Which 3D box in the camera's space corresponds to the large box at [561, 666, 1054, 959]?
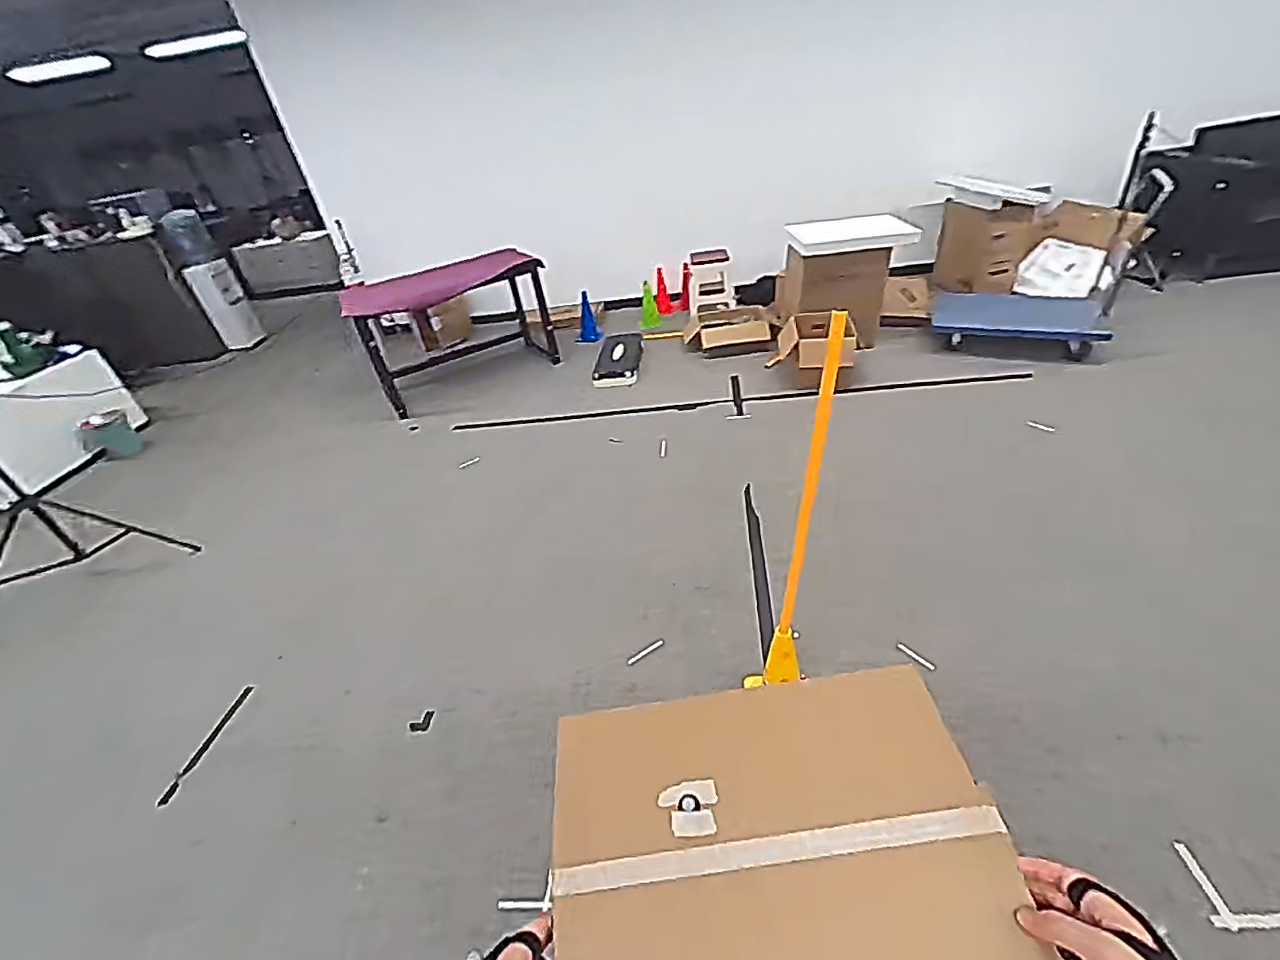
[{"bbox_3d":[0.148,0.455,0.603,0.408,0.320,0.320,-11,41,3],"label":"large box"}]
